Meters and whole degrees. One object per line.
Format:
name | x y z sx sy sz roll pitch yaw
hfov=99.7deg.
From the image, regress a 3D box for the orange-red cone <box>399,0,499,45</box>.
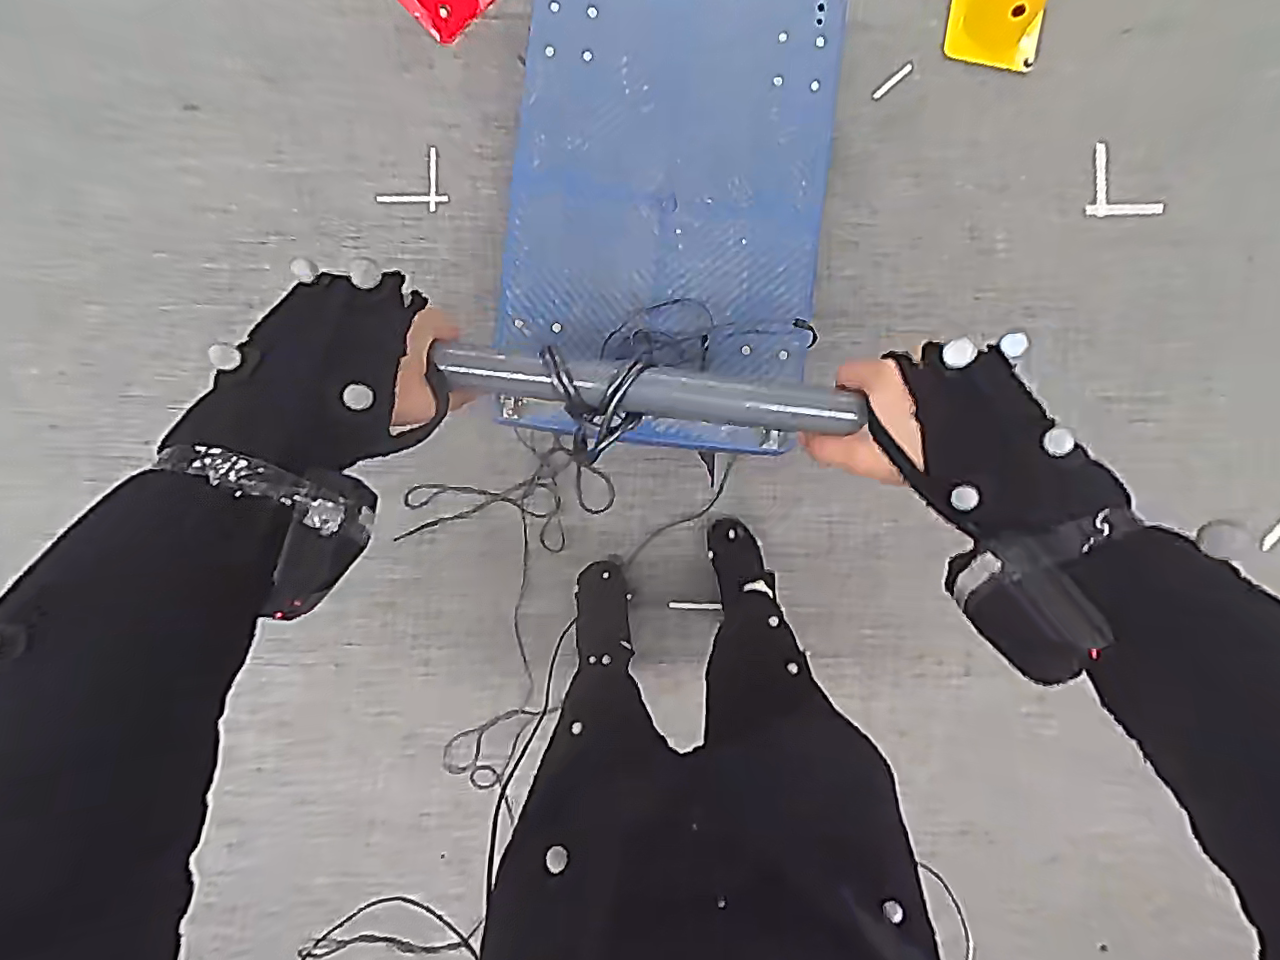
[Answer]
orange-red cone | -0.408 -1.052 0.979 0.199 0.360 0.198 -44 92 -2
